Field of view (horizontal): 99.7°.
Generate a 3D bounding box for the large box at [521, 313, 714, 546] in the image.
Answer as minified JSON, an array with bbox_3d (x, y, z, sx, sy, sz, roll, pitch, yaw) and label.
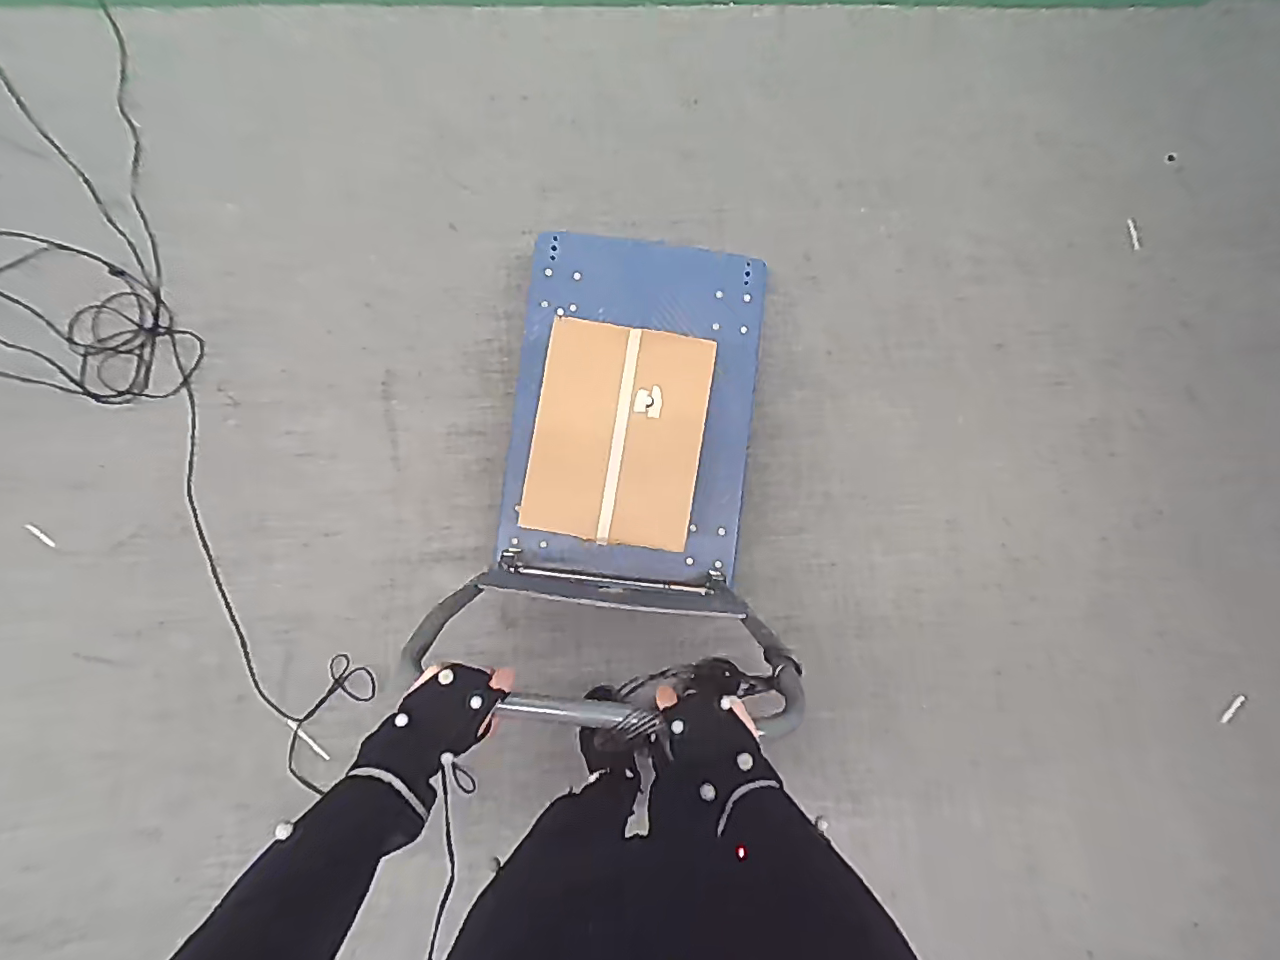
[{"bbox_3d":[-0.043,-0.084,1.141,0.320,0.320,0.408,9,86,-2],"label":"large box"}]
